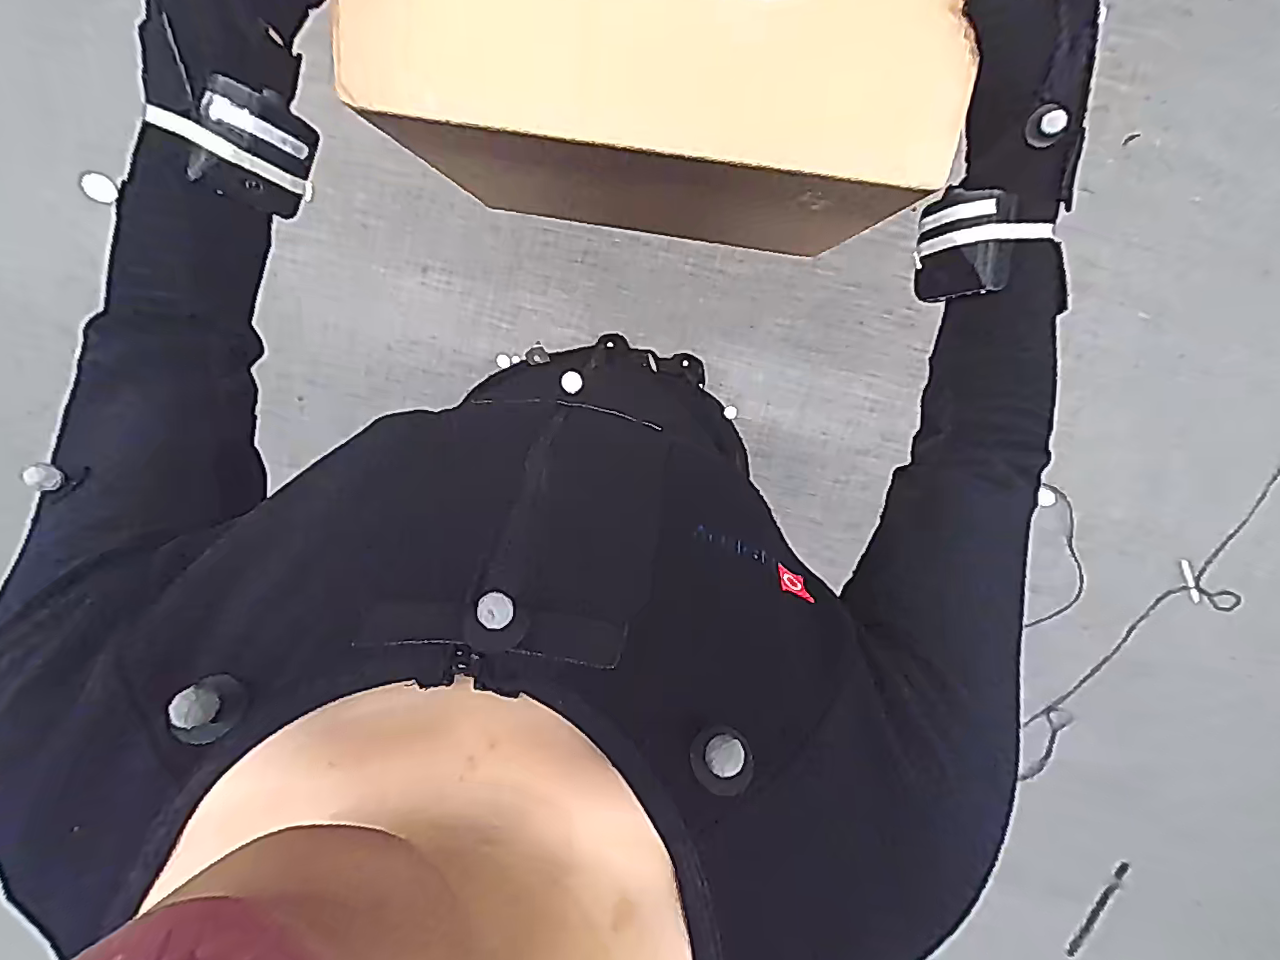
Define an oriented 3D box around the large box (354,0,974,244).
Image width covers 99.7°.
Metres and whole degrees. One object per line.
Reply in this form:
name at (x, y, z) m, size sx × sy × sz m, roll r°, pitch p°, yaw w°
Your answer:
large box at (0.026, -0.416, 0.472) m, size 0.408 × 0.320 × 0.320 m, roll 8°, pitch 106°, yaw 0°
